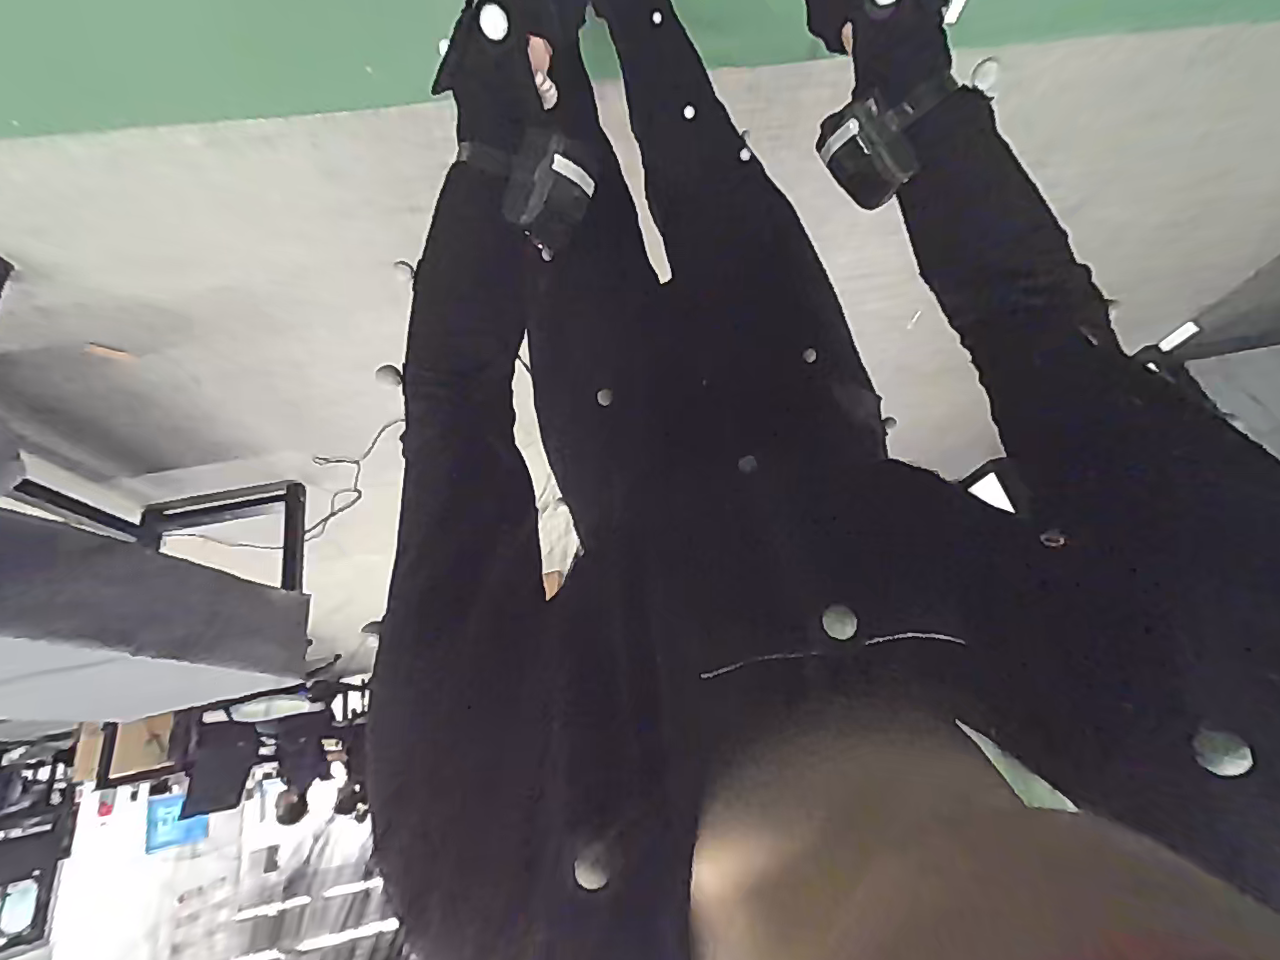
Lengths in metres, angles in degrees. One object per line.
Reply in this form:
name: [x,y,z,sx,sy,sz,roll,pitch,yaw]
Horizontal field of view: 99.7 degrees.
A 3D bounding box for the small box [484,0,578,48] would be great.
small box: [-0.151,-0.778,0.758,0.179,0.176,0.168,22,154,-27]
